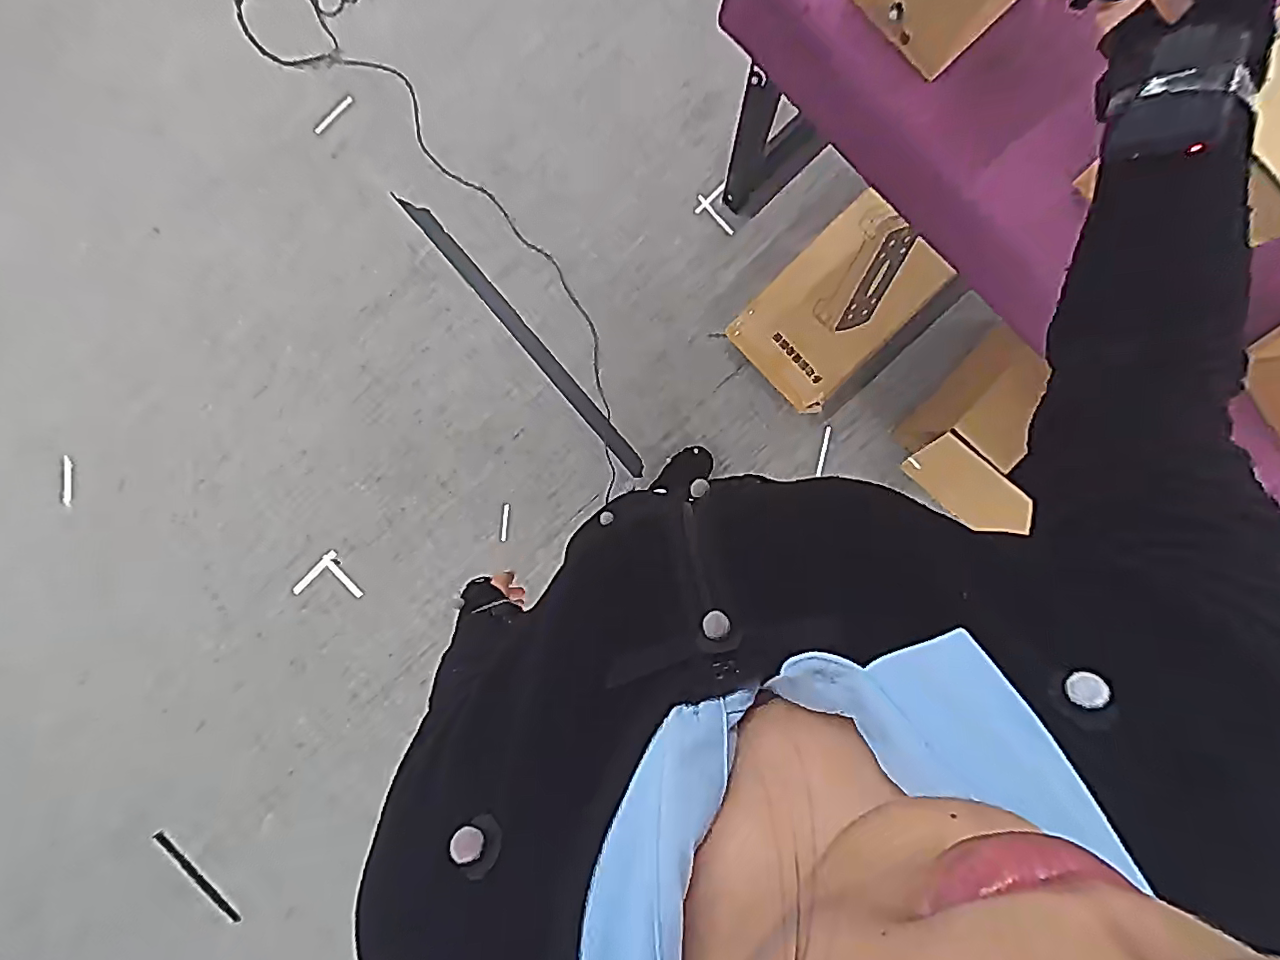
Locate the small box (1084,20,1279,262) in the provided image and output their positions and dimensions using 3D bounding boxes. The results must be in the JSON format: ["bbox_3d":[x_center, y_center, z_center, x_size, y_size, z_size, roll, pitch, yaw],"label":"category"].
[{"bbox_3d":[0.684,-0.380,0.620,0.168,0.176,0.179,-44,90,2],"label":"small box"}]

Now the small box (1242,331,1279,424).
[{"bbox_3d":[0.886,-0.133,0.624,0.168,0.176,0.179,-37,91,5],"label":"small box"}]
